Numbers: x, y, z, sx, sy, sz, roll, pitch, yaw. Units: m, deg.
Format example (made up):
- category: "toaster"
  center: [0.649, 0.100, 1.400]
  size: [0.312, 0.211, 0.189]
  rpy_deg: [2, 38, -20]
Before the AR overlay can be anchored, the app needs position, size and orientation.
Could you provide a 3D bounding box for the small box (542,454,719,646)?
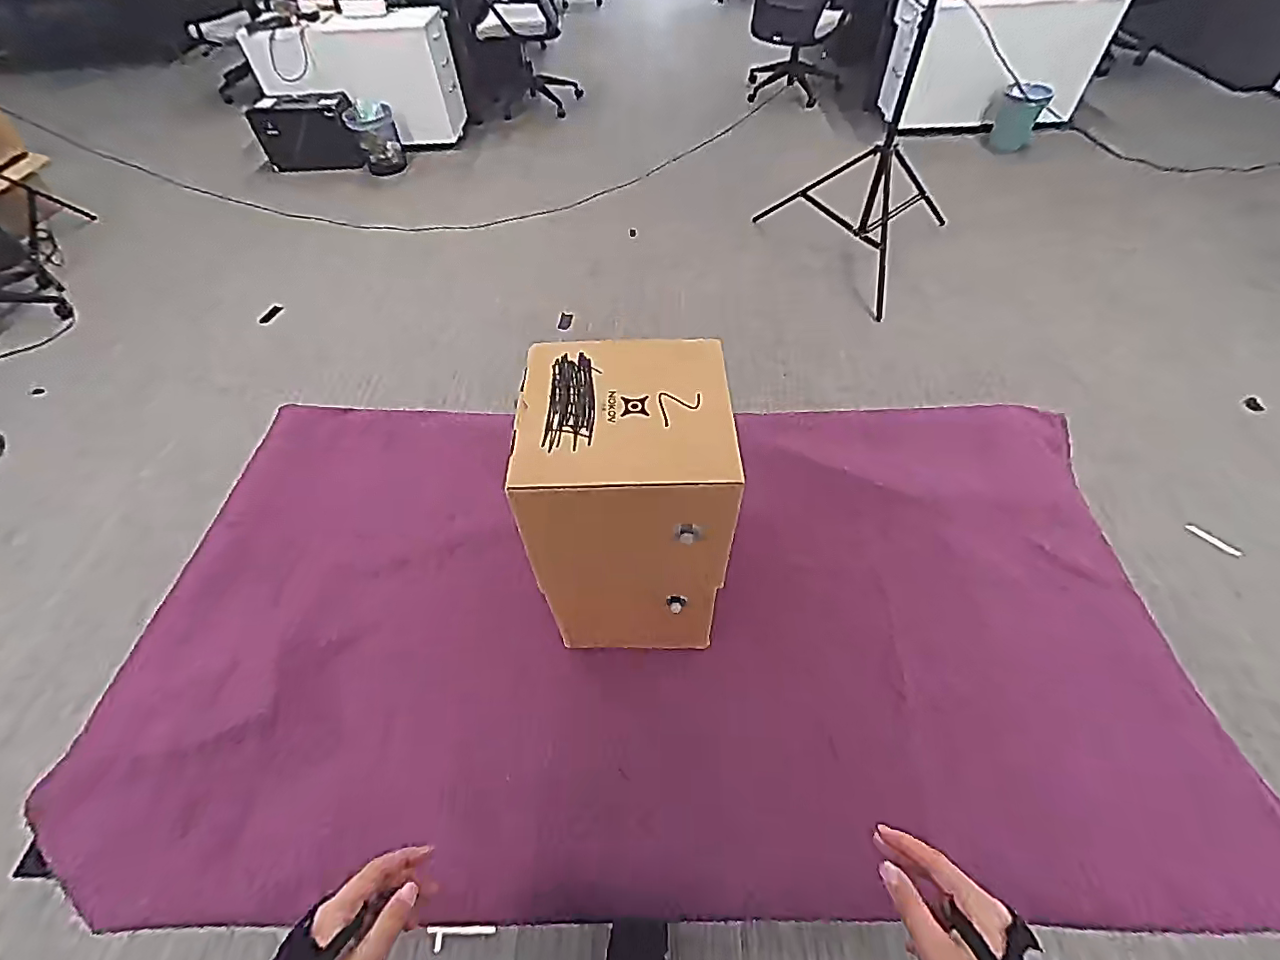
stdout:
- category: "small box"
  center: [-0.006, 0.087, 0.634]
  size: [0.179, 0.176, 0.168]
  rpy_deg: [-1, 52, 1]
